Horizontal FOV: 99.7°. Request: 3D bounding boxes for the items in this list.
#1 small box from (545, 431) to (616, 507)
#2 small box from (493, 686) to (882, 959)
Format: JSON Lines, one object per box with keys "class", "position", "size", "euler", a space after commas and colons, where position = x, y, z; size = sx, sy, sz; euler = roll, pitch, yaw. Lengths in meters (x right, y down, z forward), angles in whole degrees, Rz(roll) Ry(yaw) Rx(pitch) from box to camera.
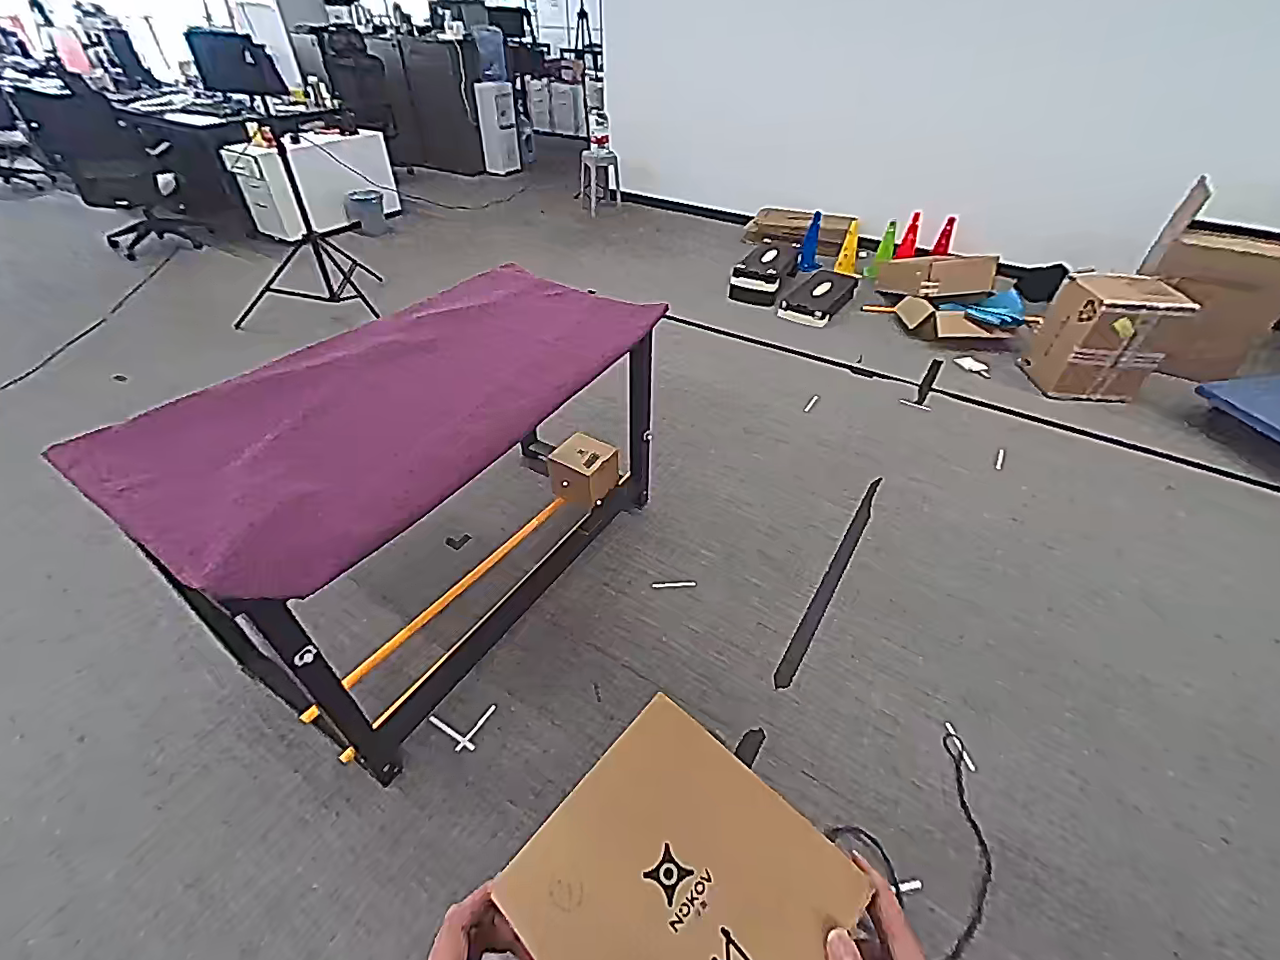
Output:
{"class": "small box", "position": [-0.193, -0.034, 1.825], "size": [0.179, 0.176, 0.168], "euler": [23, 47, 24]}
{"class": "small box", "position": [0.031, 0.290, 0.383], "size": [0.179, 0.176, 0.168], "euler": [34, 62, 29]}
